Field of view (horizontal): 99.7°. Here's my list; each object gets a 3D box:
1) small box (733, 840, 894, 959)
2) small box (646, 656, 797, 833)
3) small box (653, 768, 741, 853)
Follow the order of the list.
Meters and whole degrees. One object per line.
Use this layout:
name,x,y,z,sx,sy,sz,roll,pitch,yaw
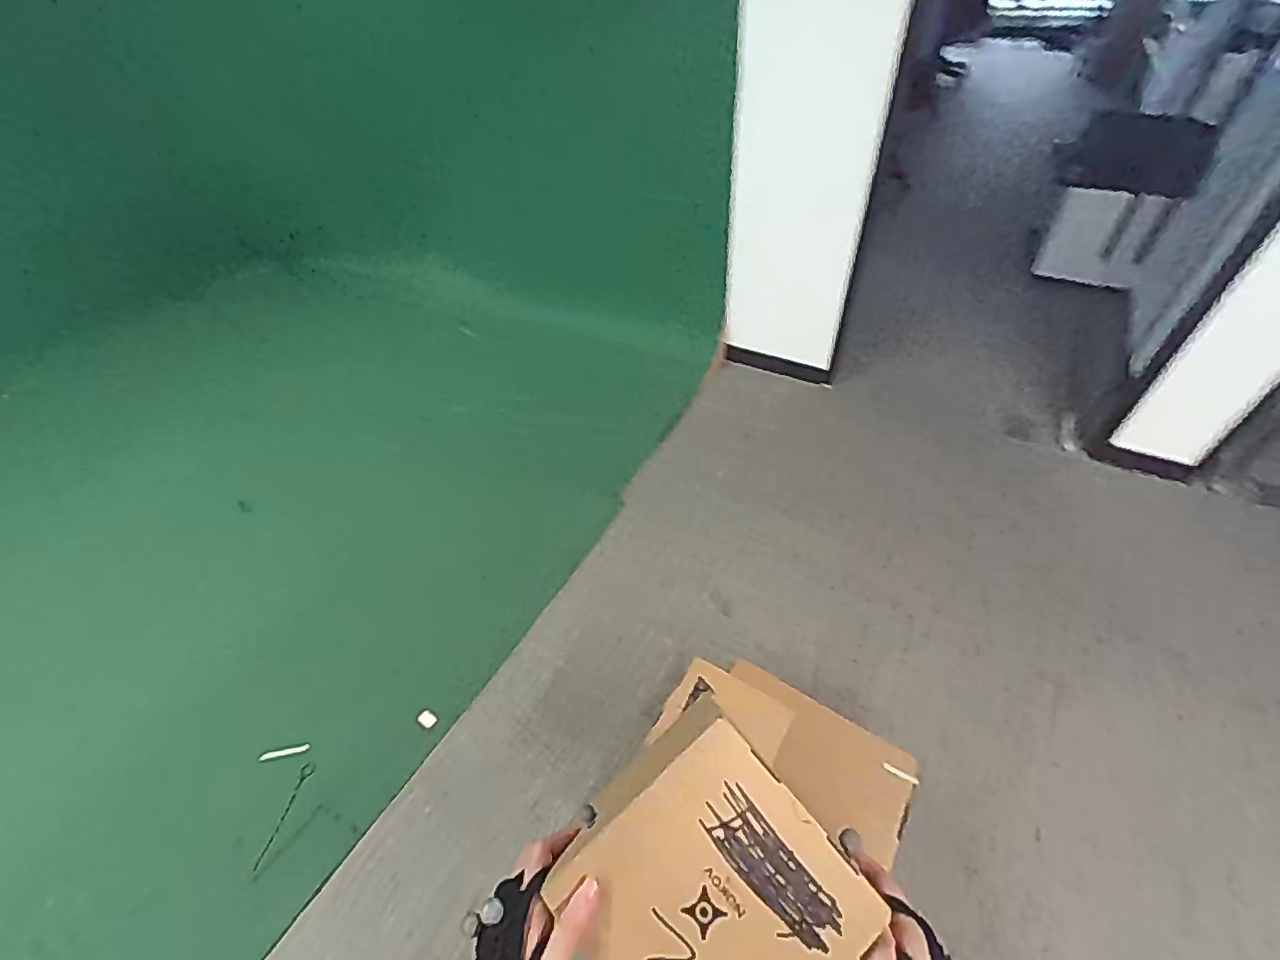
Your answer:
small box,0.256,0.696,0.824,0.179,0.176,0.168,22,52,23
small box,0.128,0.423,0.863,0.179,0.176,0.168,23,53,25
small box,0.136,0.533,0.987,0.168,0.176,0.179,23,52,25
